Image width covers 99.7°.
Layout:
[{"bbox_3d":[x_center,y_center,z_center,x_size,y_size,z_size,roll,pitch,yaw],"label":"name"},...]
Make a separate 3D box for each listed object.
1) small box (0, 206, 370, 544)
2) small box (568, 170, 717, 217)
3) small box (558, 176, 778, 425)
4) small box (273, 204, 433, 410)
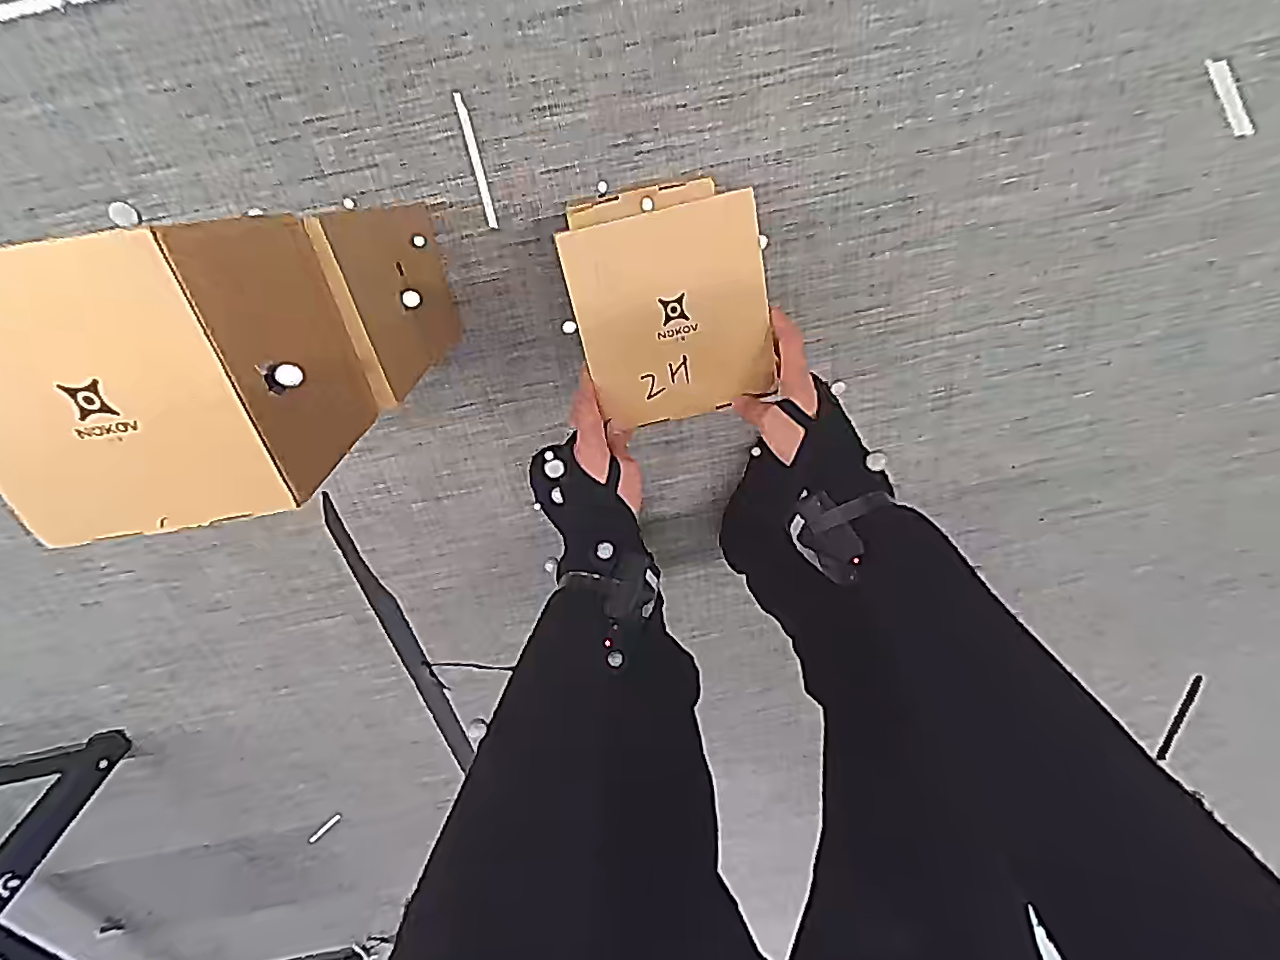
[{"bbox_3d":[-0.321,-0.085,0.377,0.168,0.176,0.179,-10,120,-1],"label":"small box"},{"bbox_3d":[0.010,-0.278,0.684,0.168,0.176,0.179,-12,121,2],"label":"small box"},{"bbox_3d":[0.022,-0.174,0.532,0.168,0.176,0.179,-13,113,1],"label":"small box"},{"bbox_3d":[-0.326,-0.160,0.522,0.179,0.176,0.168,-12,120,-1],"label":"small box"}]
